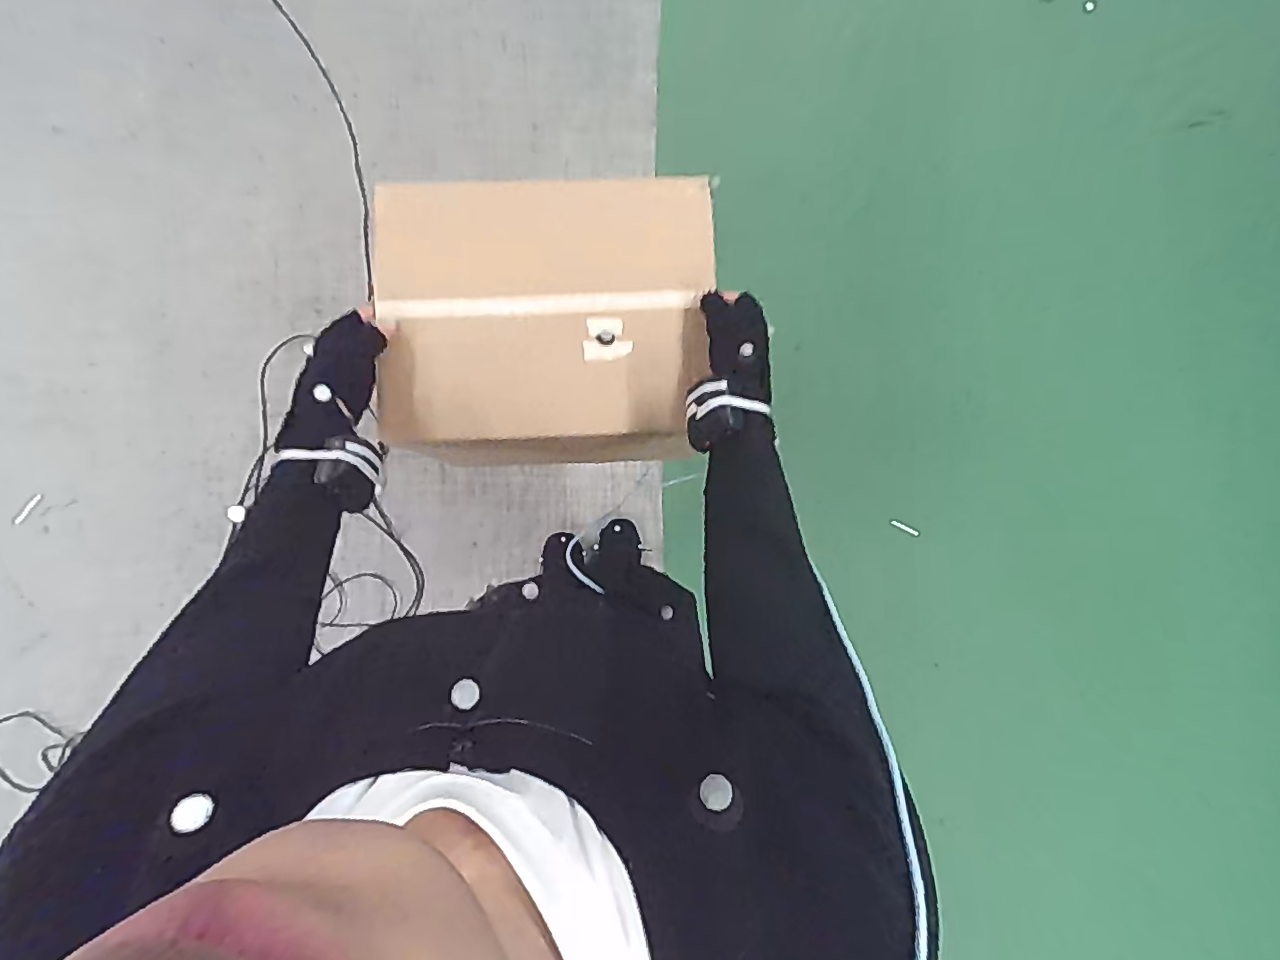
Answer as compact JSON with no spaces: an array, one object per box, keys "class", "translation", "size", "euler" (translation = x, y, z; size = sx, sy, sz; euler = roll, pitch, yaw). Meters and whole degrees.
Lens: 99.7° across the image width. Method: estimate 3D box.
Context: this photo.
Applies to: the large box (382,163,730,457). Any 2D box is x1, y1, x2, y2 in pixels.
[{"class":"large box","translation":[-0.109,-0.213,0.785],"size":[0.408,0.320,0.320],"euler":[-2,86,-3]}]
